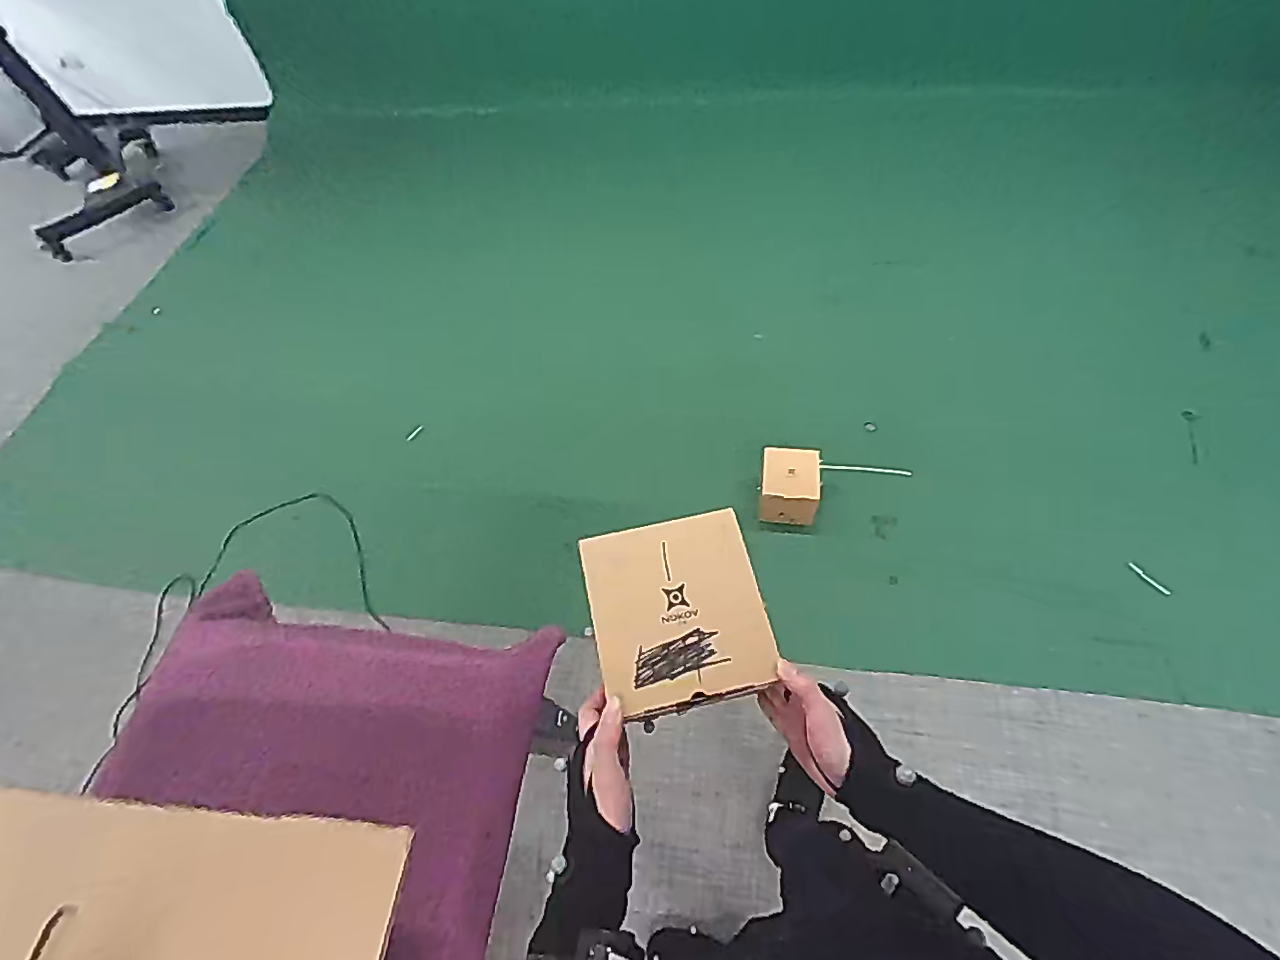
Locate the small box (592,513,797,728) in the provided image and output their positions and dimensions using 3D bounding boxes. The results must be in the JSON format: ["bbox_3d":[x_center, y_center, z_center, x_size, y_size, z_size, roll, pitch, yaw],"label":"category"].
[{"bbox_3d":[0.049,0.159,0.586,0.168,0.176,0.179,-11,64,-4],"label":"small box"}]

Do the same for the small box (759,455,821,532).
[{"bbox_3d":[0.466,0.042,1.695,0.168,0.176,0.179,4,59,9],"label":"small box"}]
